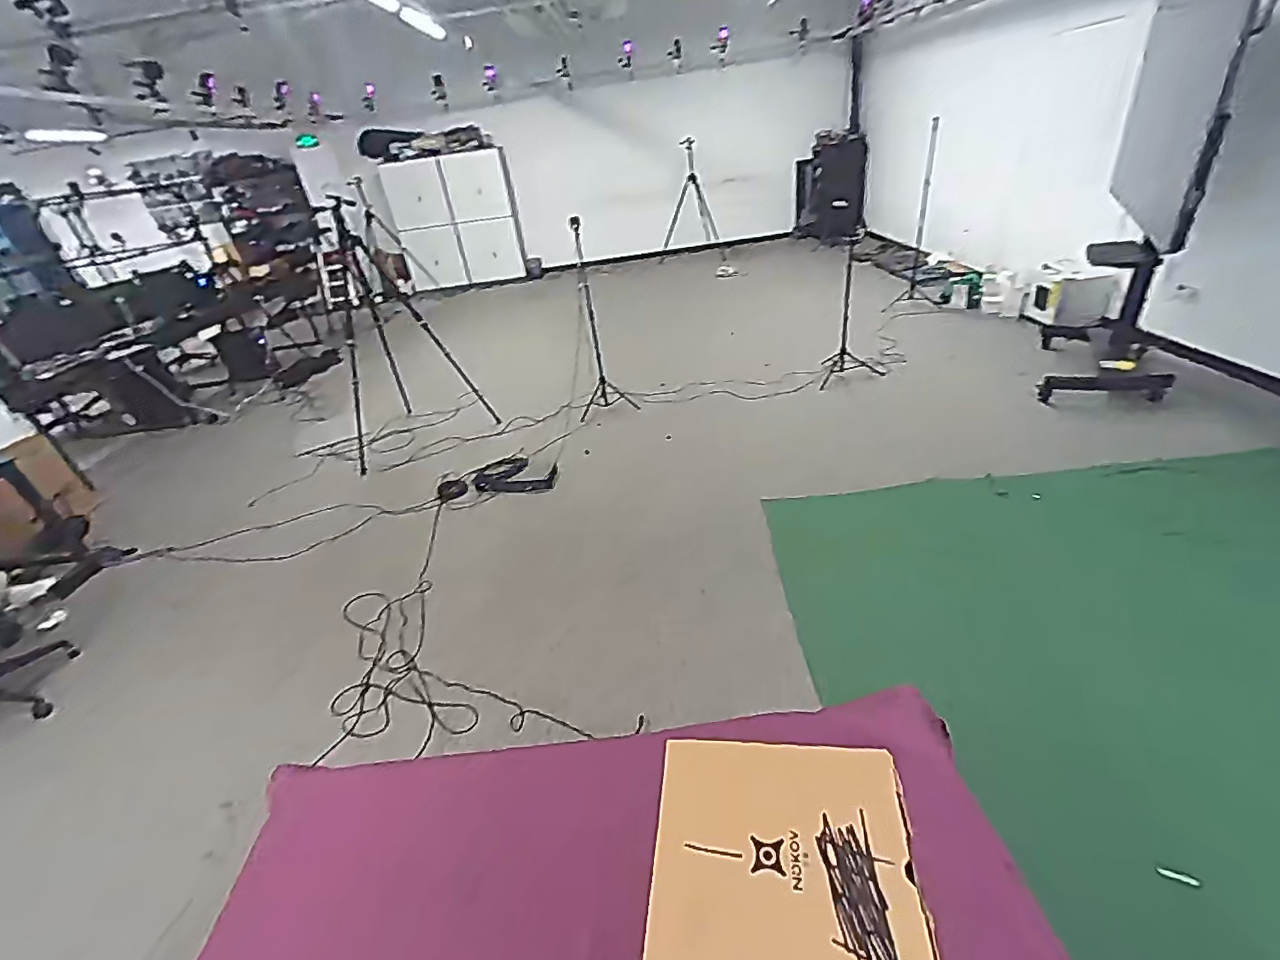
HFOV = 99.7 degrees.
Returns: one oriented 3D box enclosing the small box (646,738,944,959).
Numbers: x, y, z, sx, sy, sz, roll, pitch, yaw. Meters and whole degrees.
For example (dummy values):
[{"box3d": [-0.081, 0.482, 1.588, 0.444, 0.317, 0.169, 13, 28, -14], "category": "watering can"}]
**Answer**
[{"box3d": [0.110, 0.324, 0.408, 0.179, 0.176, 0.168, -2, 34, 13], "category": "small box"}]
